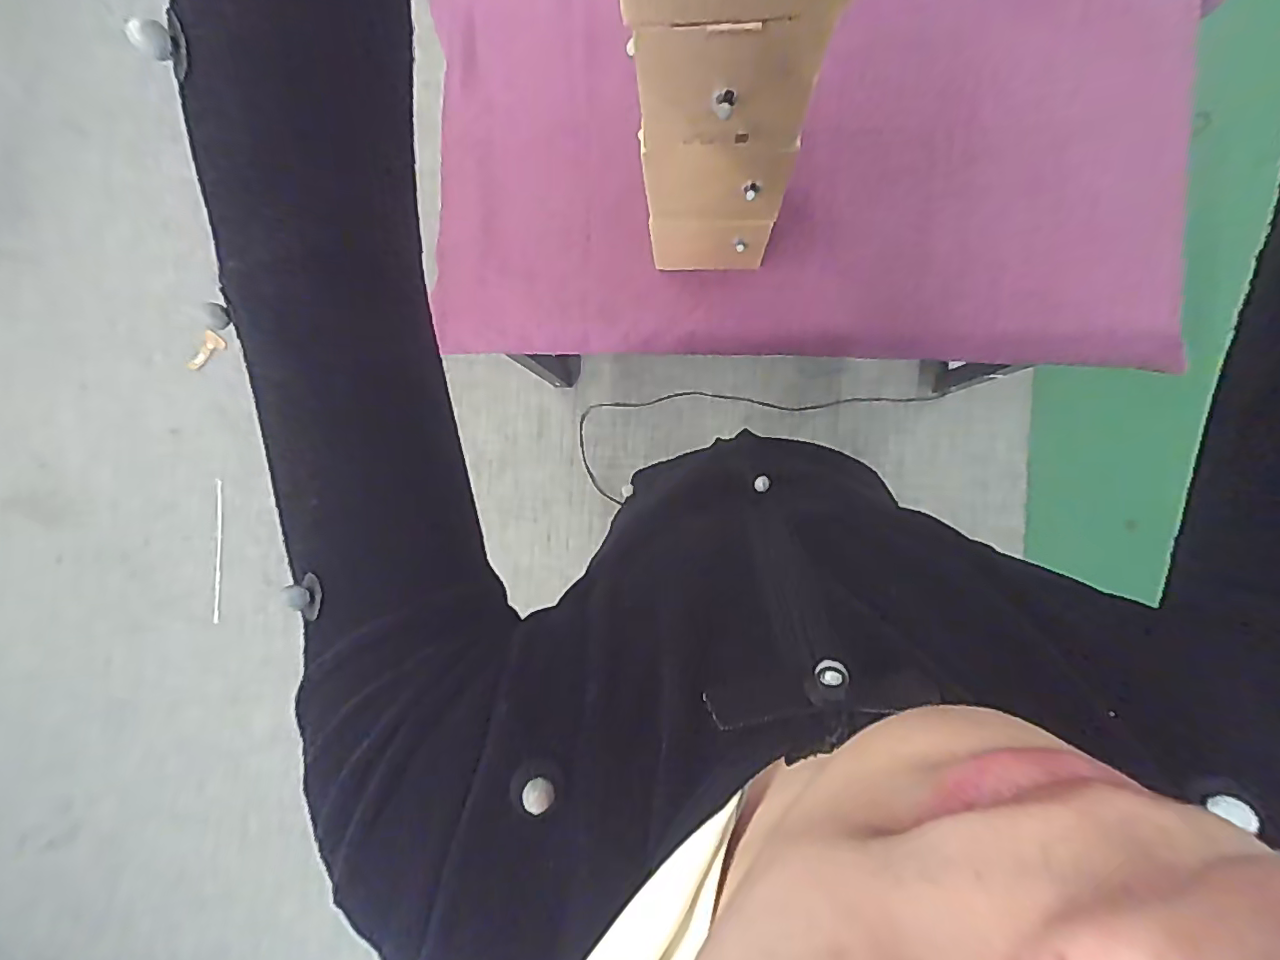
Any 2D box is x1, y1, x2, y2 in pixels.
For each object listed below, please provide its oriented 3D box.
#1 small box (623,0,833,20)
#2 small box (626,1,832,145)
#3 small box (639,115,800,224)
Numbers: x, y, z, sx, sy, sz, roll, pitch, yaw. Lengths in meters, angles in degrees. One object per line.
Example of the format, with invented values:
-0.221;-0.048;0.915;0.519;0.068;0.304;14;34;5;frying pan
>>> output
0.066;-0.442;0.346;0.179;0.176;0.168;1;89;5;small box
0.080;-0.445;0.509;0.168;0.176;0.179;1;90;5;small box
0.096;-0.437;0.671;0.179;0.176;0.168;2;90;6;small box
